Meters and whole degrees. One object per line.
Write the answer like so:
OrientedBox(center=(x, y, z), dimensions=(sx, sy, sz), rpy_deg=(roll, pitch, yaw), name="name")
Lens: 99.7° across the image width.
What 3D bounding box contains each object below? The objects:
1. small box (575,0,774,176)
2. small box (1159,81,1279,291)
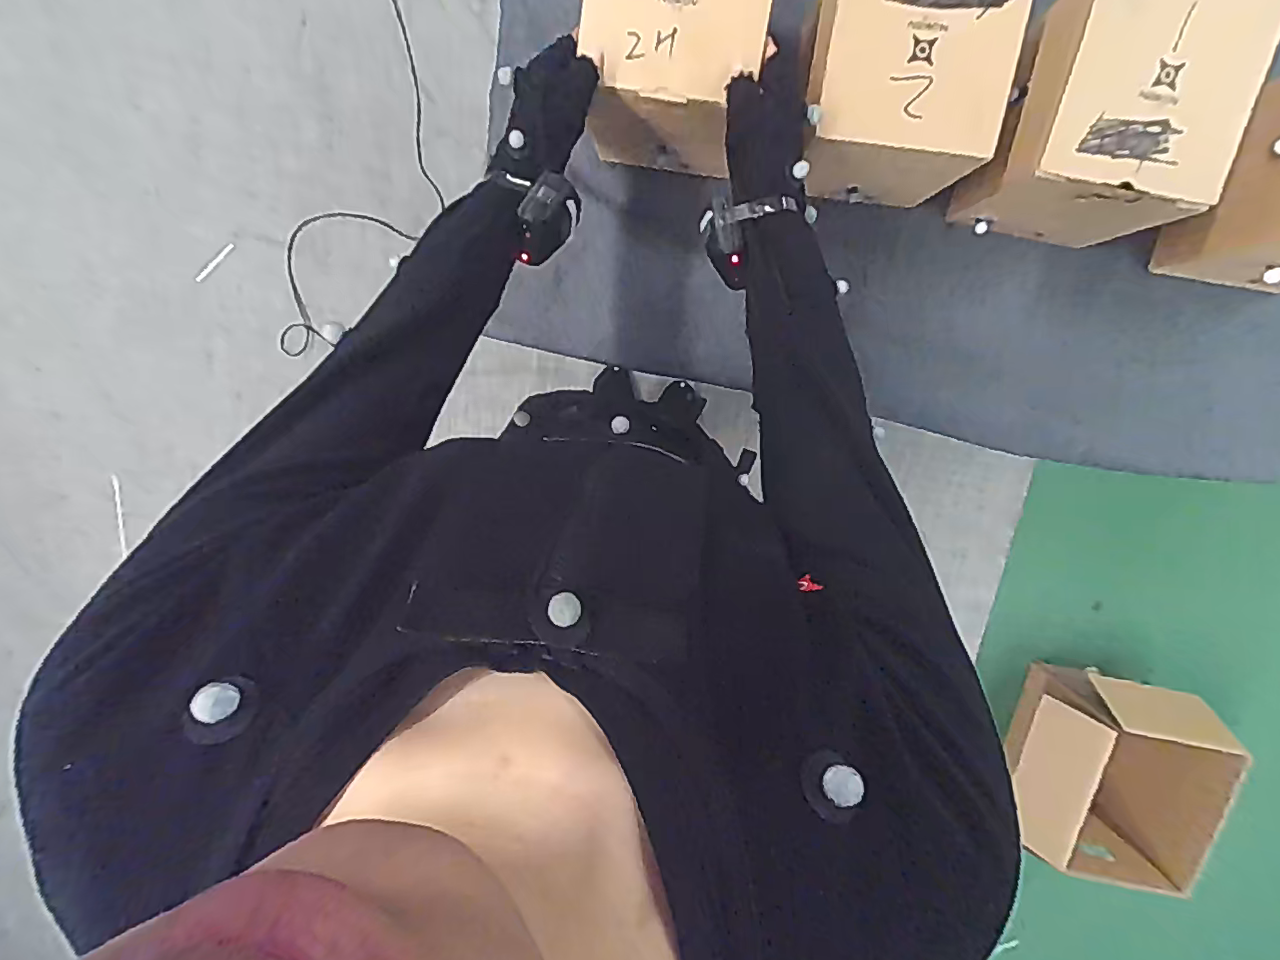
OrientedBox(center=(0.040, -0.440, 0.542), dimensions=(0.168, 0.176, 0.179), rpy_deg=(10, 100, 3), name="small box")
OrientedBox(center=(0.699, -0.301, 0.551), dimensions=(0.168, 0.176, 0.179), rpy_deg=(10, 102, 1), name="small box")
